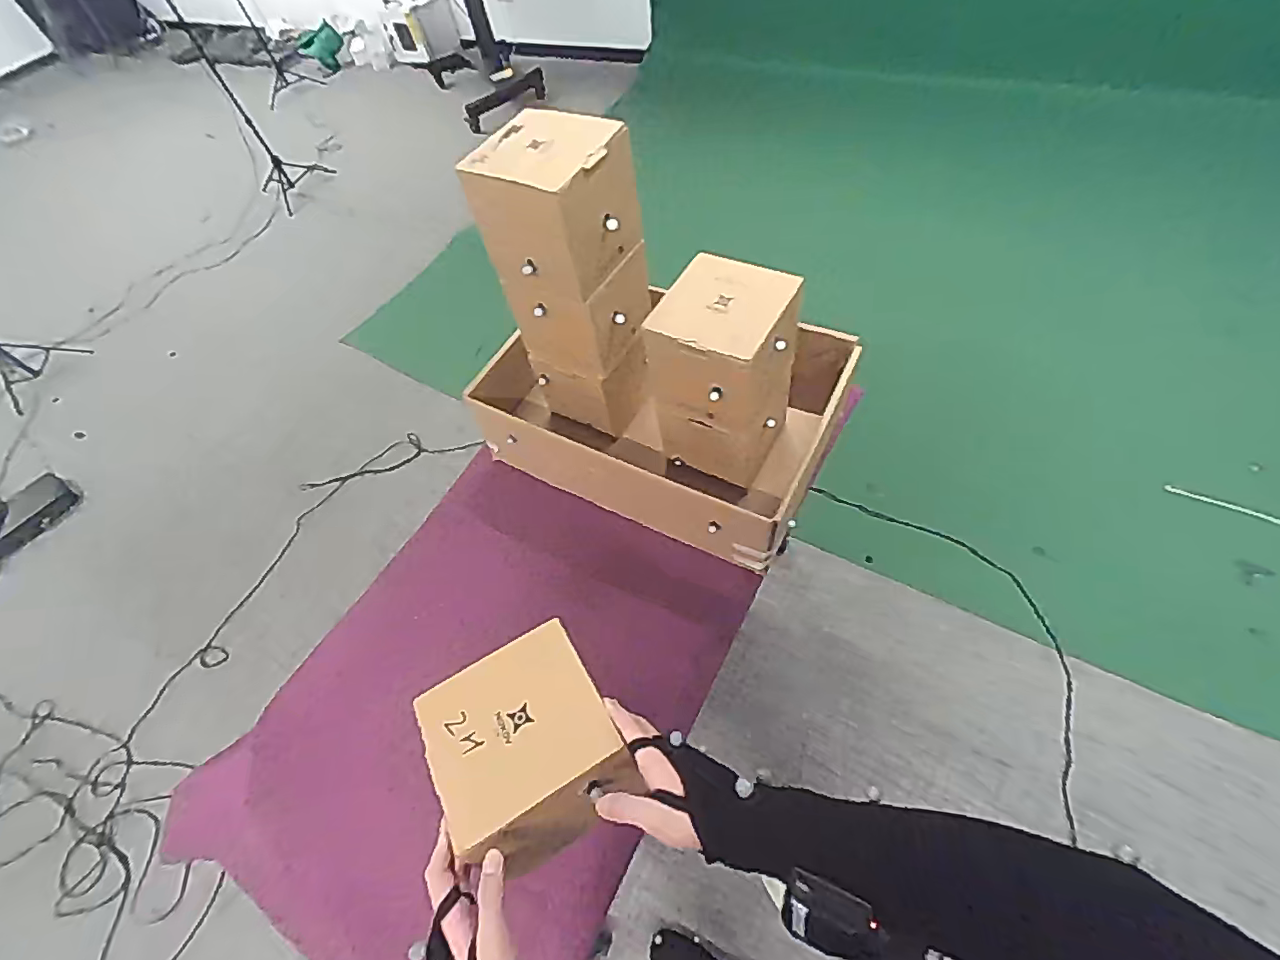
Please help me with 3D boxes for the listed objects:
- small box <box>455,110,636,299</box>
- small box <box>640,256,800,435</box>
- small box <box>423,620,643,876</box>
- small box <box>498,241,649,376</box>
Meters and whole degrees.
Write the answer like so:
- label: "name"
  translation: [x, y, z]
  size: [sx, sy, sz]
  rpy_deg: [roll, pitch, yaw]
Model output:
- label: "small box"
  translation: [-0.122, -0.391, 0.779]
  size: [0.179, 0.176, 0.168]
  rpy_deg: [25, 64, 21]
- label: "small box"
  translation: [0.123, -0.197, 0.812]
  size: [0.168, 0.176, 0.179]
  rpy_deg: [25, 65, 22]
- label: "small box"
  translation: [-0.107, 0.295, 0.598]
  size: [0.179, 0.176, 0.168]
  rpy_deg: [-27, 48, -14]
- label: "small box"
  translation: [-0.100, -0.303, 0.916]
  size: [0.179, 0.176, 0.168]
  rpy_deg: [24, 65, 22]
